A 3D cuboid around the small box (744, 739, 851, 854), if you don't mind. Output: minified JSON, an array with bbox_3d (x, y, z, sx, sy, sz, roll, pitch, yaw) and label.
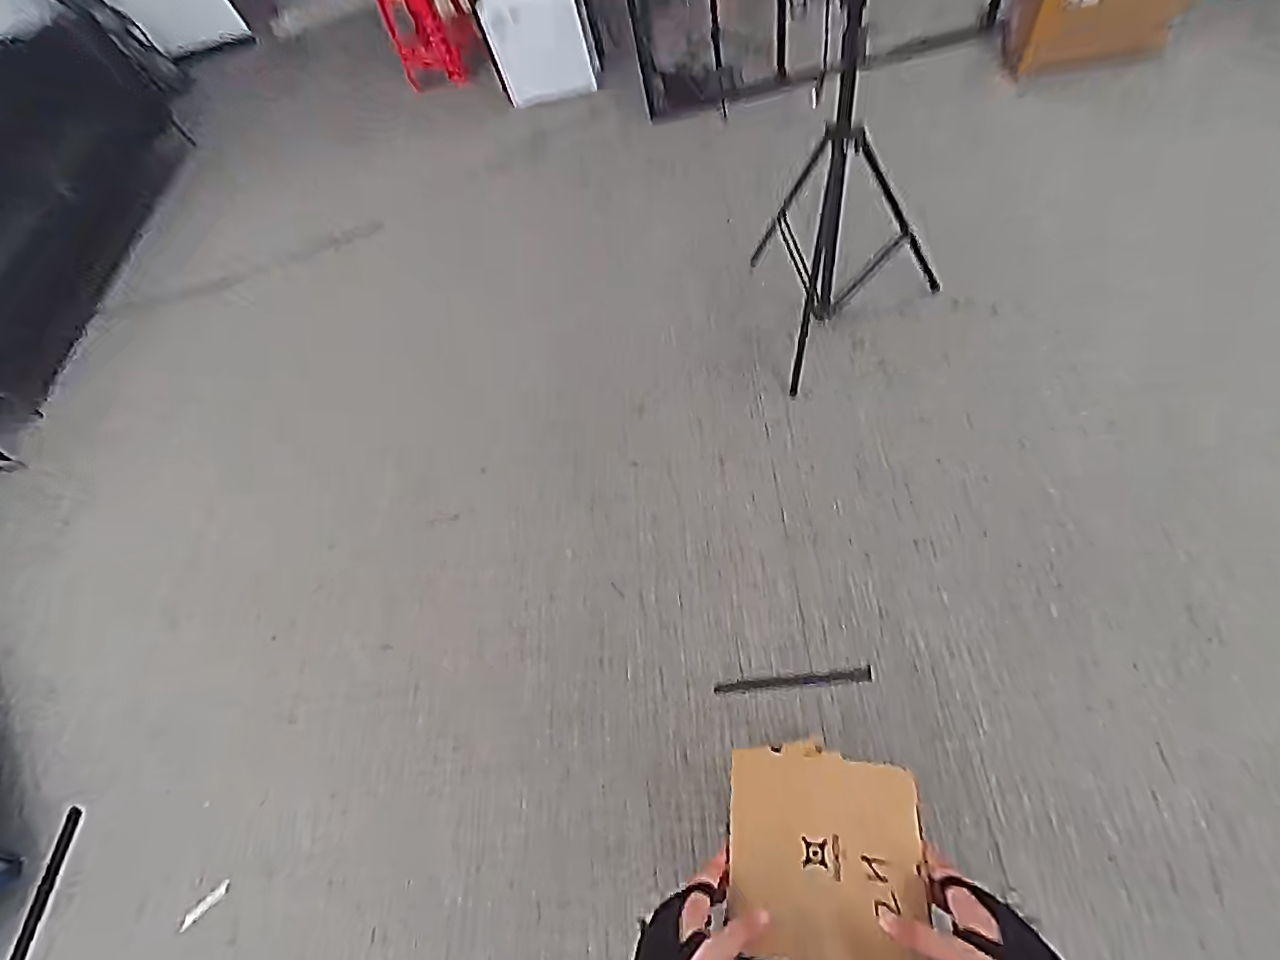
[{"bbox_3d":[0.311,0.640,1.100,0.168,0.176,0.179,-13,60,7],"label":"small box"}]
